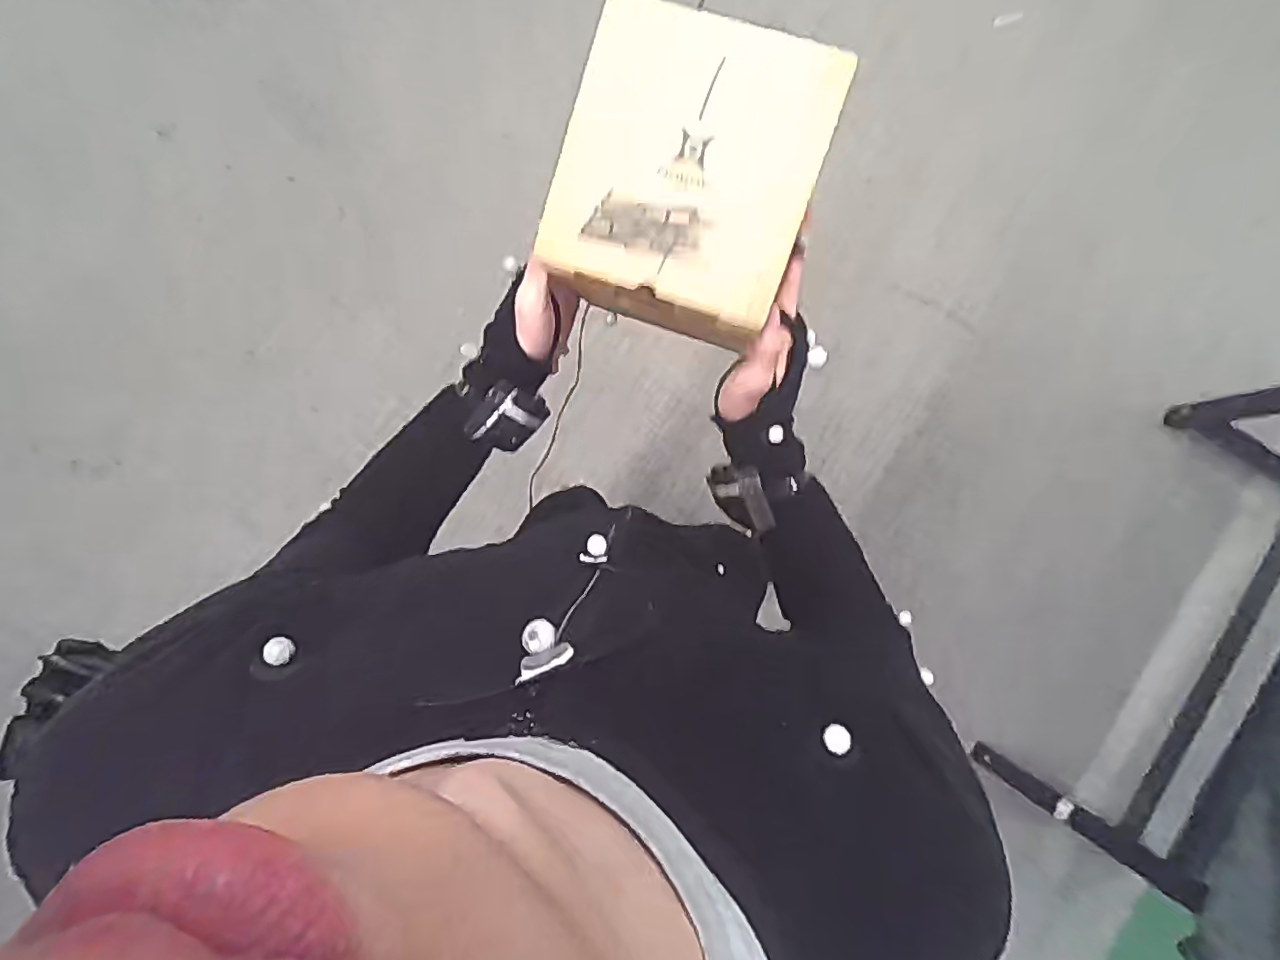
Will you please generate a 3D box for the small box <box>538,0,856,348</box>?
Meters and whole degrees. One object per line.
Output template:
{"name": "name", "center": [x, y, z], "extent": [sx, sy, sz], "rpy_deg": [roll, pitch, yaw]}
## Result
{"name": "small box", "center": [0.042, -0.218, 0.430], "extent": [0.168, 0.176, 0.179], "rpy_deg": [19, 97, 4]}
